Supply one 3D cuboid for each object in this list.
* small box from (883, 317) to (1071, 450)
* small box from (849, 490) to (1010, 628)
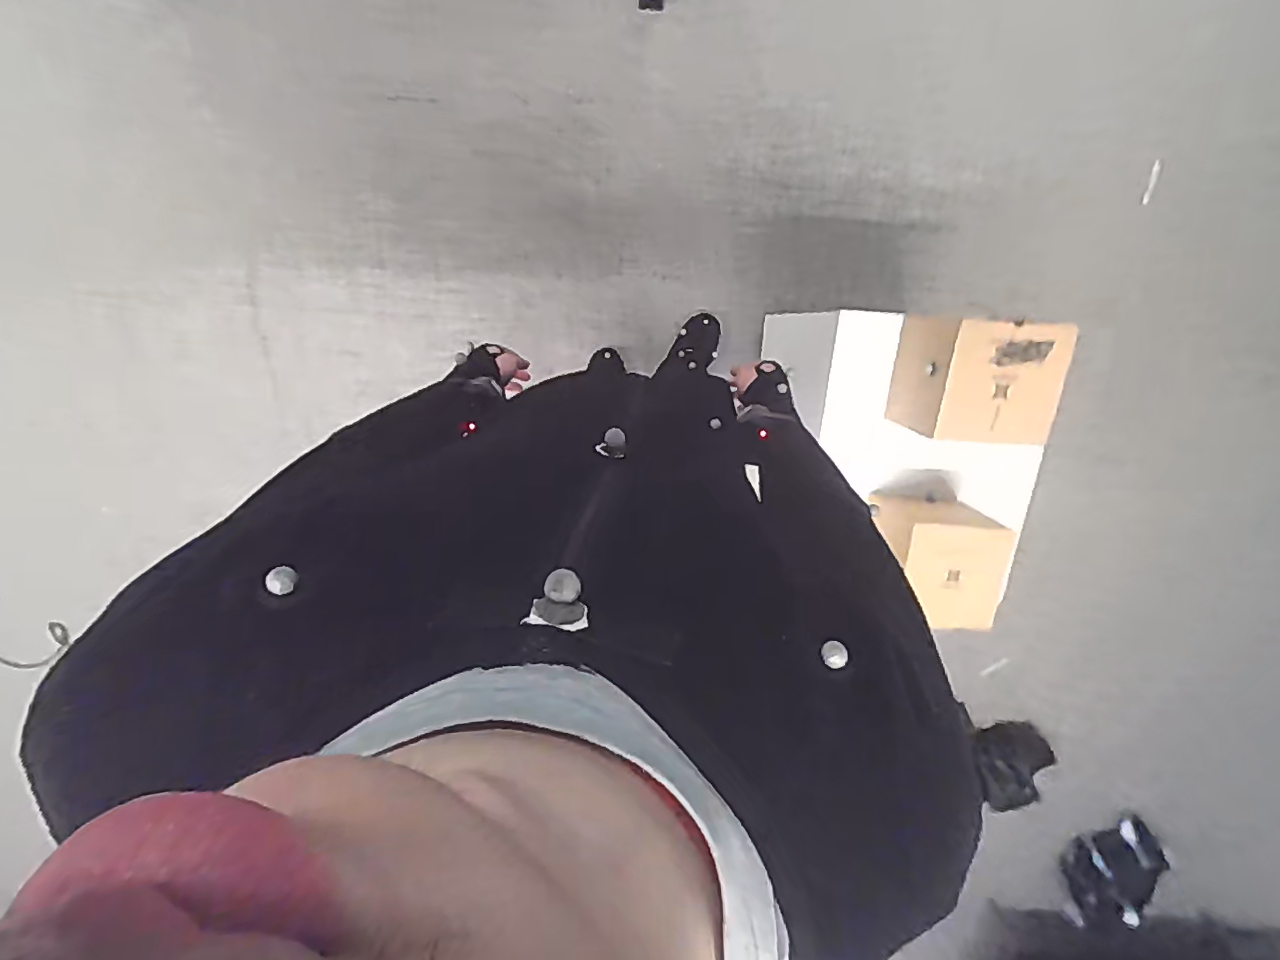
[{"bbox_3d":[0.505,-0.156,0.840,0.168,0.176,0.179,4,109,-2],"label":"small box"},{"bbox_3d":[0.480,0.129,0.929,0.168,0.176,0.179,5,106,-3],"label":"small box"}]
